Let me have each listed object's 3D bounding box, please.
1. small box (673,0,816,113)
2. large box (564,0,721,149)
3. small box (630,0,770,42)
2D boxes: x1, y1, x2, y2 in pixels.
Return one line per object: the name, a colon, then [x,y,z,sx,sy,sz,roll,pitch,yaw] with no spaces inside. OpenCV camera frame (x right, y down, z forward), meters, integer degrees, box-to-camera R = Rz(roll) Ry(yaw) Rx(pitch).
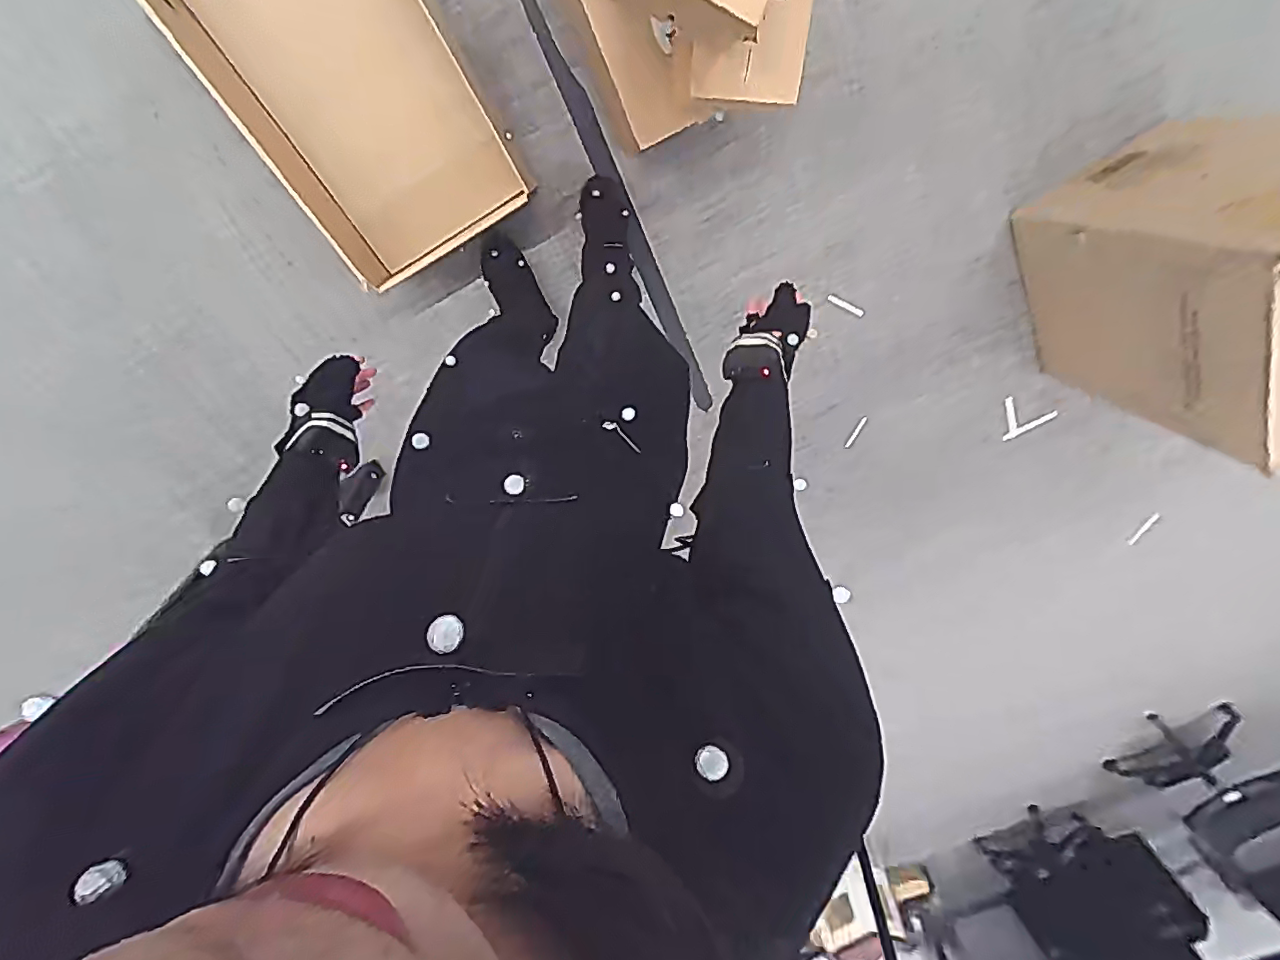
small box: [0.148,-0.669,0.812,0.168,0.176,0.179,-1,121,-8]
large box: [0.042,-0.873,0.962,0.320,0.320,0.408,-25,122,8]
small box: [0.075,-0.646,0.625,0.179,0.176,0.168,15,116,-17]
